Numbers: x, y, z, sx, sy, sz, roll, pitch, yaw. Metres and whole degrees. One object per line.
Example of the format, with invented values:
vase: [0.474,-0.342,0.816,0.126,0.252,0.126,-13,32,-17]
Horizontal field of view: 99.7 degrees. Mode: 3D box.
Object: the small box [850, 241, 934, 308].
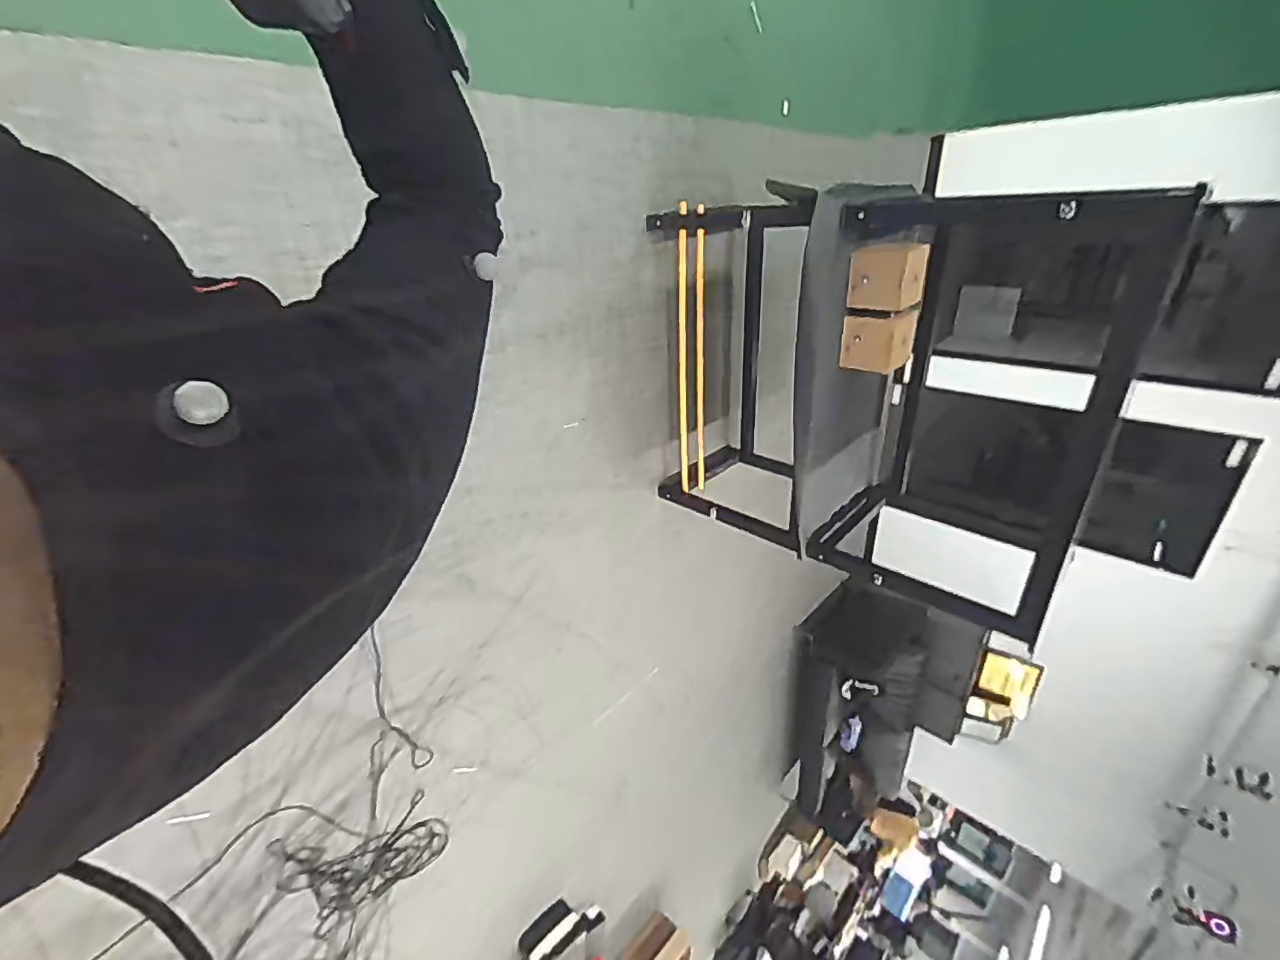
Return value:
small box: [0.767,-0.633,1.654,0.179,0.176,0.168,-30,127,-37]
